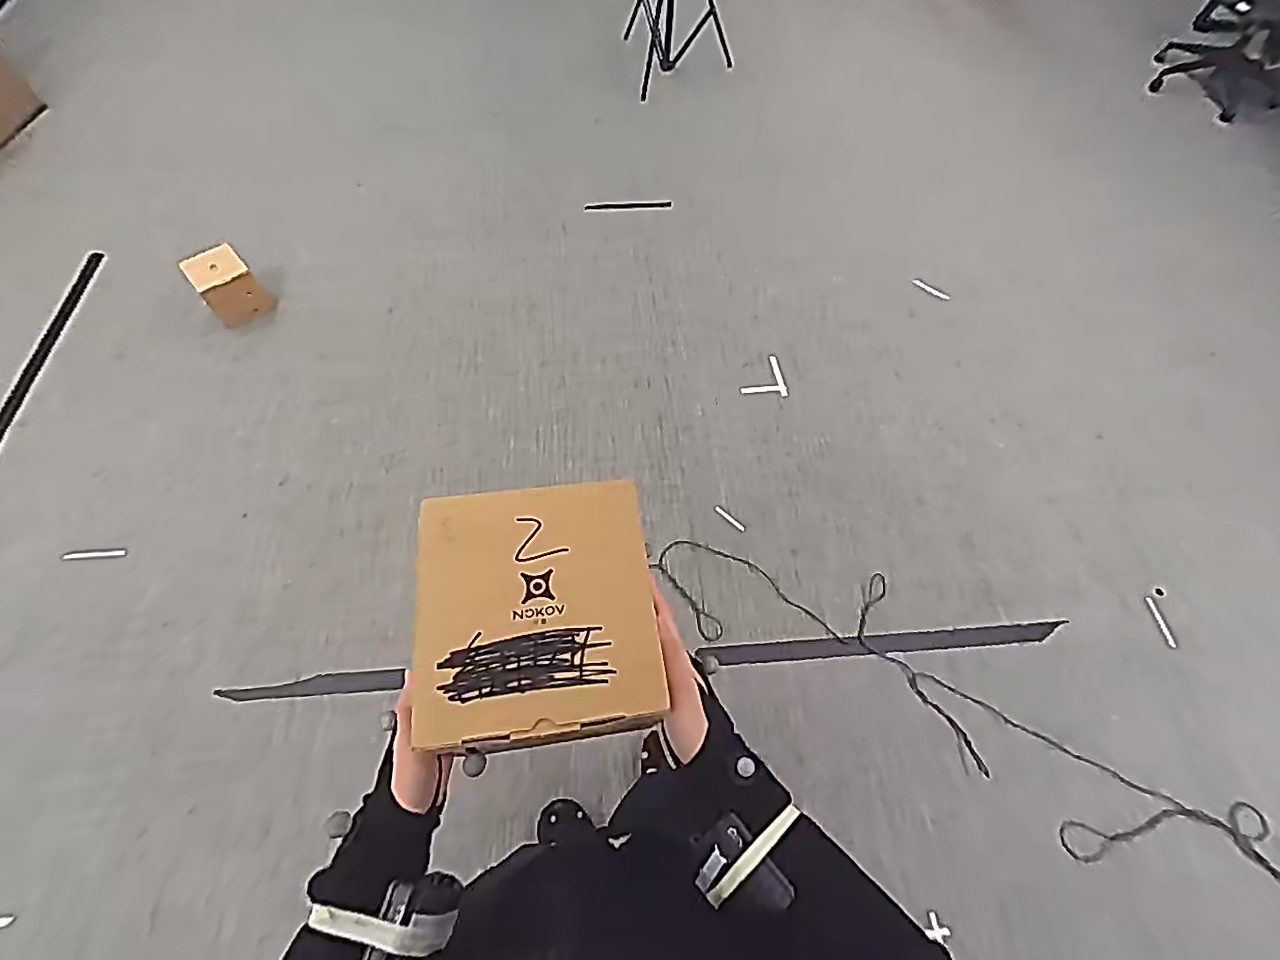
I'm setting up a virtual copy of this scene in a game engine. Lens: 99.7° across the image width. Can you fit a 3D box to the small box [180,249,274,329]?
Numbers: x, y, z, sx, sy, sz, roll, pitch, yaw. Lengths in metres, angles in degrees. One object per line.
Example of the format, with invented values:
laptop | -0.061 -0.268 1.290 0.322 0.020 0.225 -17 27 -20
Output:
small box | -1.402 -0.645 1.847 0.168 0.176 0.179 -38 68 -22
